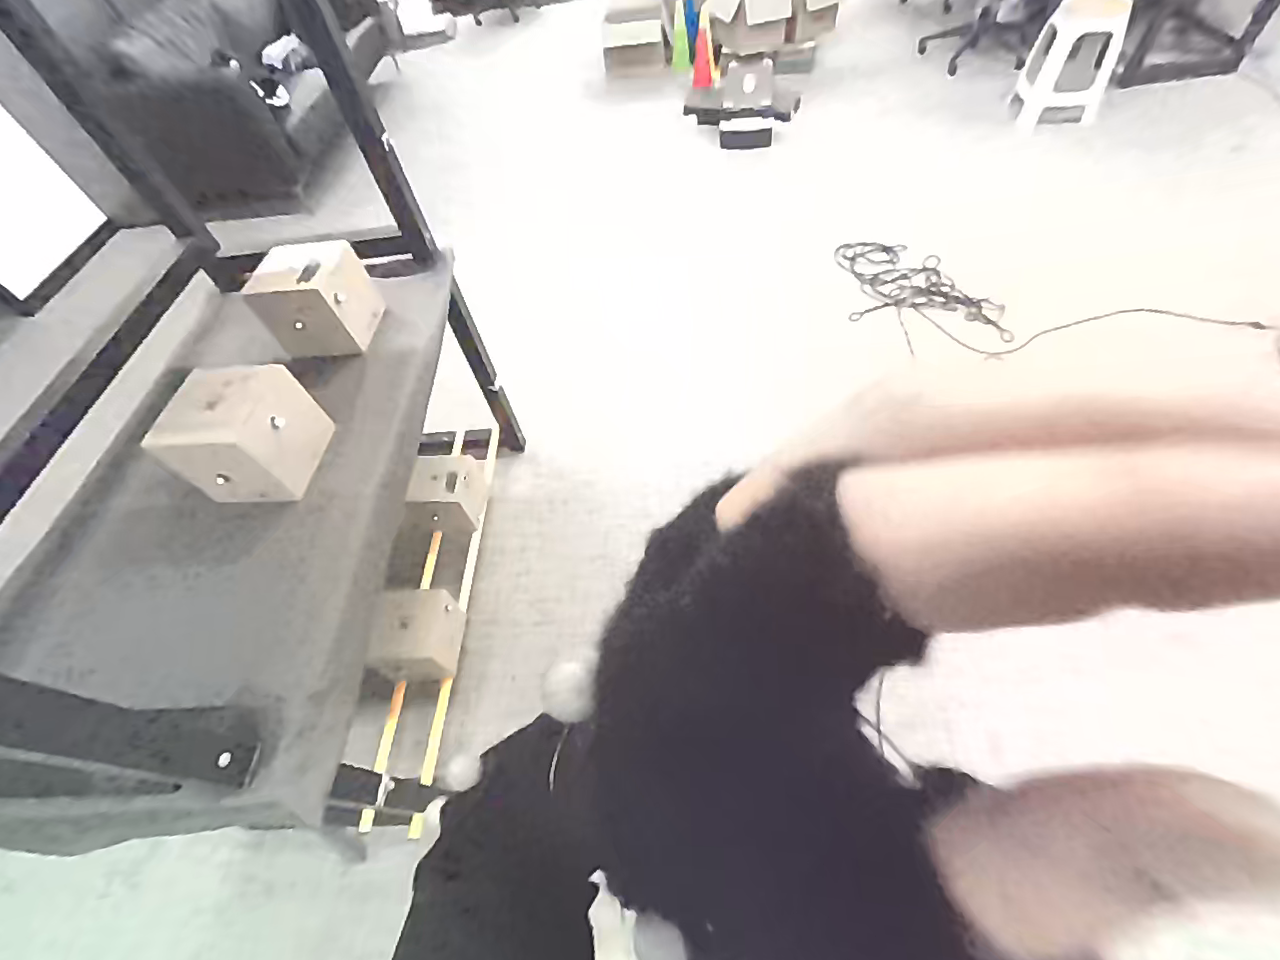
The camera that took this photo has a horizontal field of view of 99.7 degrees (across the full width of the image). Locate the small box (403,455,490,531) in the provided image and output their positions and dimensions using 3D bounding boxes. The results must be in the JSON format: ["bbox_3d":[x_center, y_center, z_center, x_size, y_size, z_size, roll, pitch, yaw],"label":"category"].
[{"bbox_3d":[-0.565,0.040,1.606,0.179,0.176,0.168,-1,54,7],"label":"small box"}]

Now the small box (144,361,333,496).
[{"bbox_3d":[-0.676,-0.083,0.940,0.168,0.176,0.179,-1,55,6],"label":"small box"}]
